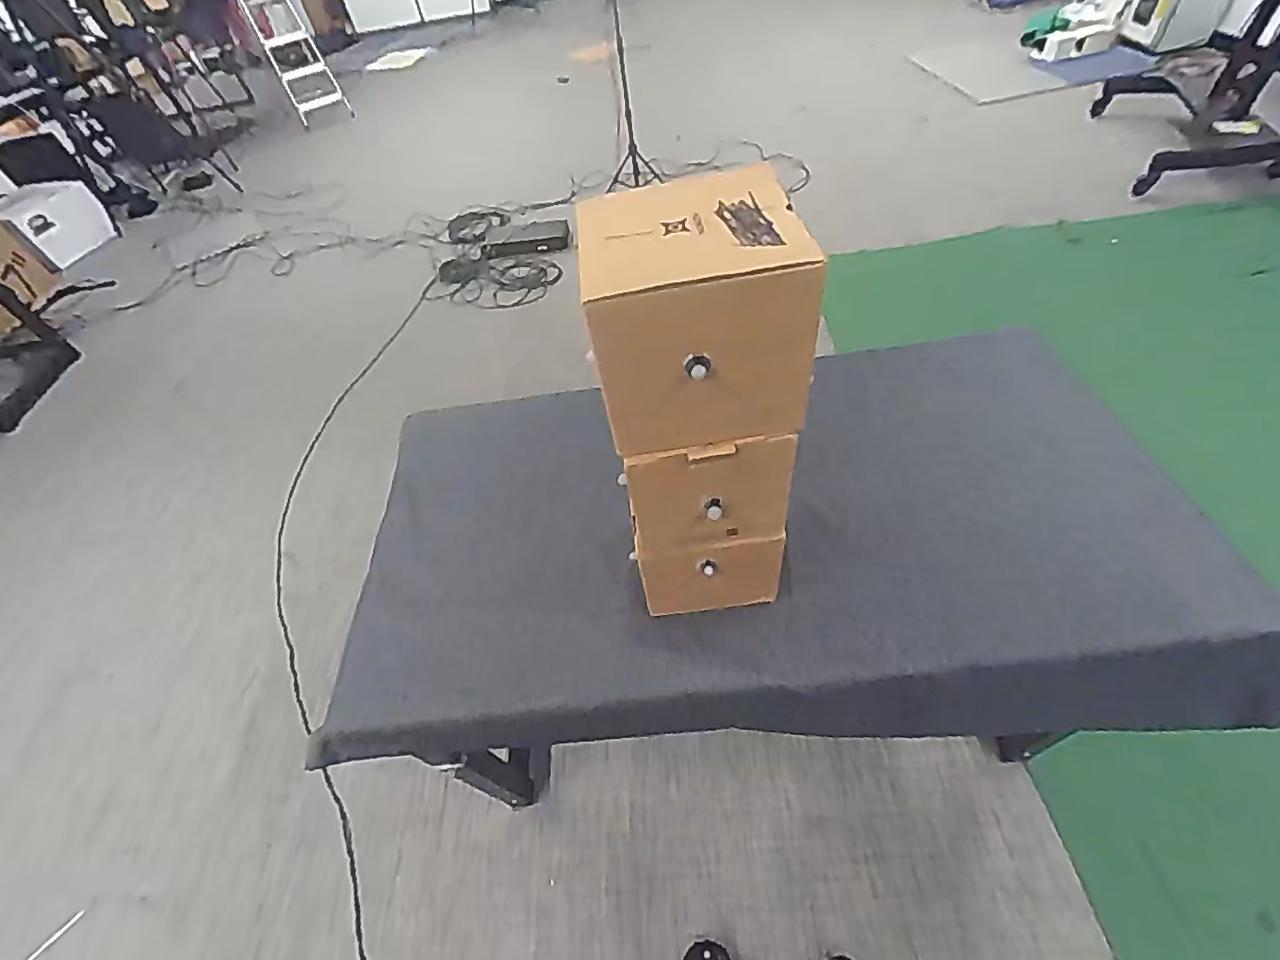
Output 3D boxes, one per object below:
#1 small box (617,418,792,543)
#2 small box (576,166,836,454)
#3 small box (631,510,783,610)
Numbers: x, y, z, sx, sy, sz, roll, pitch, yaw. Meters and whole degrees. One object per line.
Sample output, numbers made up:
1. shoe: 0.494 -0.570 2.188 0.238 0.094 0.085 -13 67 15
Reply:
1. small box: 0.064 -0.042 0.610 0.168 0.176 0.179 -9 51 2
2. small box: 0.048 -0.145 0.481 0.179 0.176 0.168 -10 51 0
3. small box: 0.083 0.063 0.733 0.179 0.176 0.168 -7 52 2
